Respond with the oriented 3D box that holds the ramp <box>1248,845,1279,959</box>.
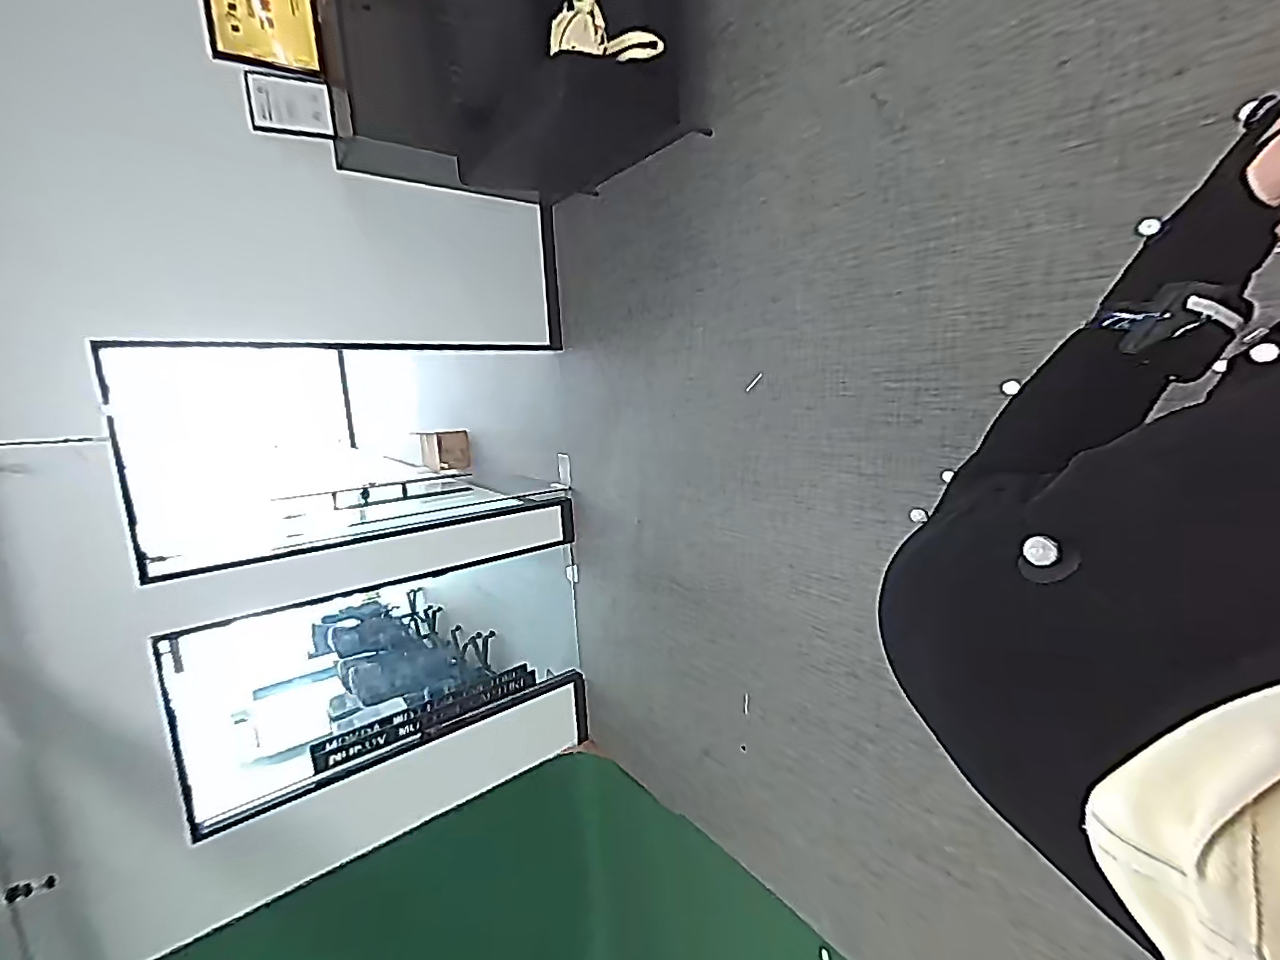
[{"bbox_3d":[1.474,1.301,1.015,0.509,0.206,0.991,7,103,53],"label":"ramp"}]
